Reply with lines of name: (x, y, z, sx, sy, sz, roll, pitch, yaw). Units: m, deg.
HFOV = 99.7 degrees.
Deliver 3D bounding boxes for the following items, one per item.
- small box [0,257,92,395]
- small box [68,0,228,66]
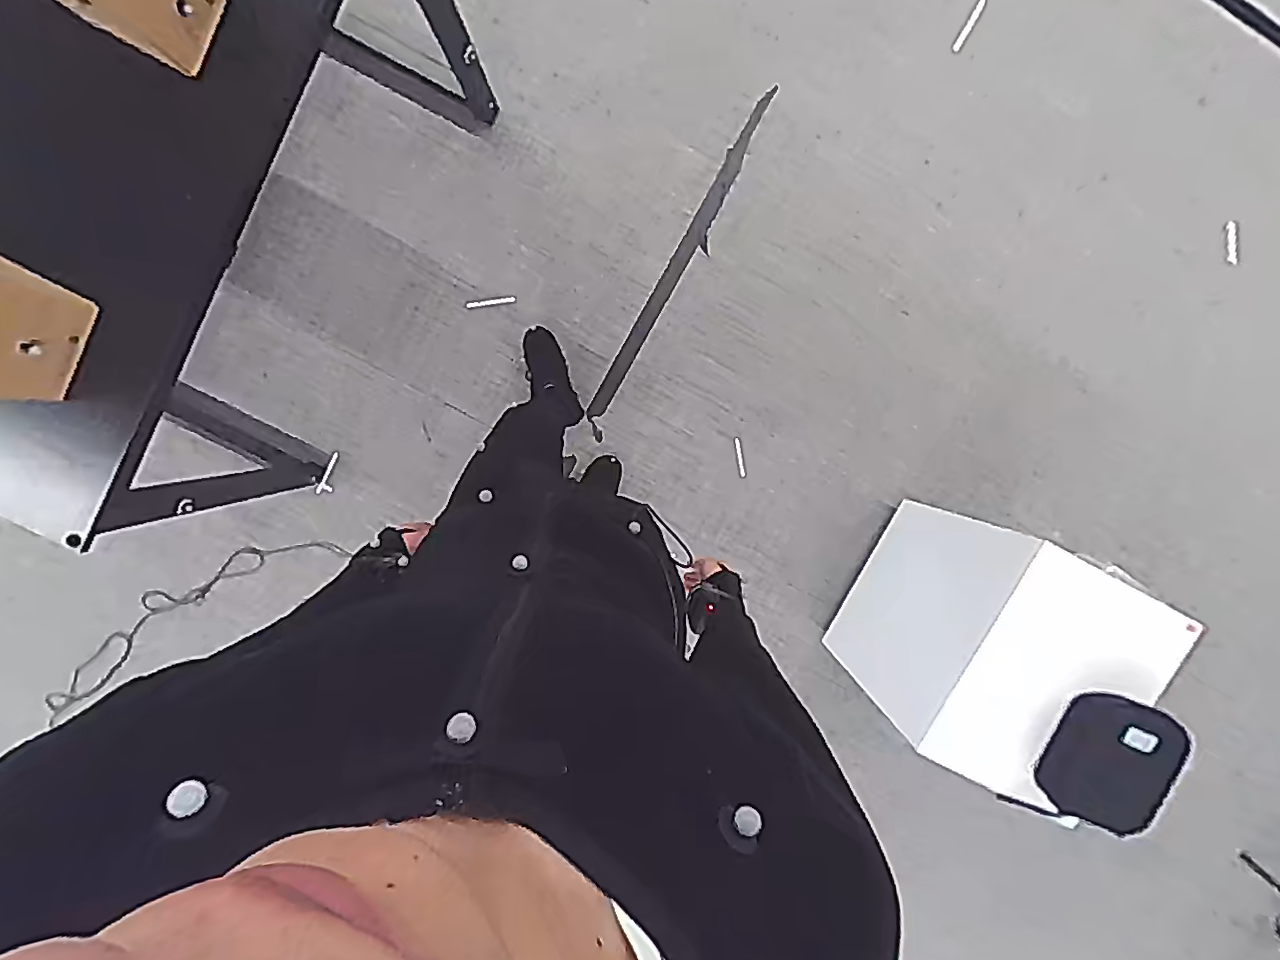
small box: (-0.942, -0.227, 0.752, 0.179, 0.176, 0.168, 27, 95, -5)
small box: (-0.692, -0.700, 0.705, 0.179, 0.176, 0.168, 27, 95, -5)
